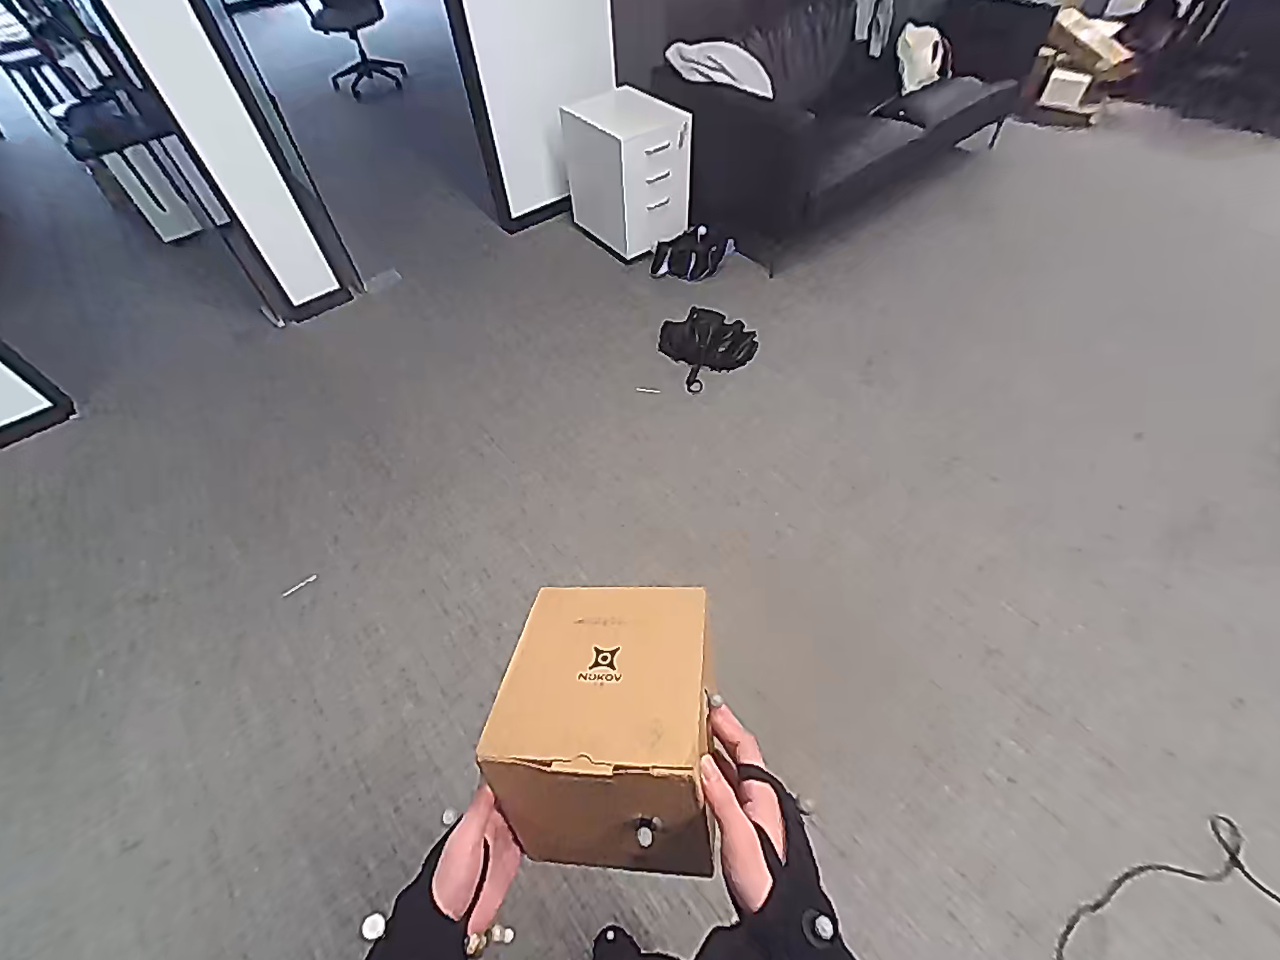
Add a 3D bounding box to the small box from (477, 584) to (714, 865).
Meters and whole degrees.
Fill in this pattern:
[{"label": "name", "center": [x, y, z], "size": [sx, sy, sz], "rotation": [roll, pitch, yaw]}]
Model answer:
[{"label": "small box", "center": [-0.019, 0.216, 0.493], "size": [0.168, 0.176, 0.179], "rotation": [-1, 33, 10]}]
